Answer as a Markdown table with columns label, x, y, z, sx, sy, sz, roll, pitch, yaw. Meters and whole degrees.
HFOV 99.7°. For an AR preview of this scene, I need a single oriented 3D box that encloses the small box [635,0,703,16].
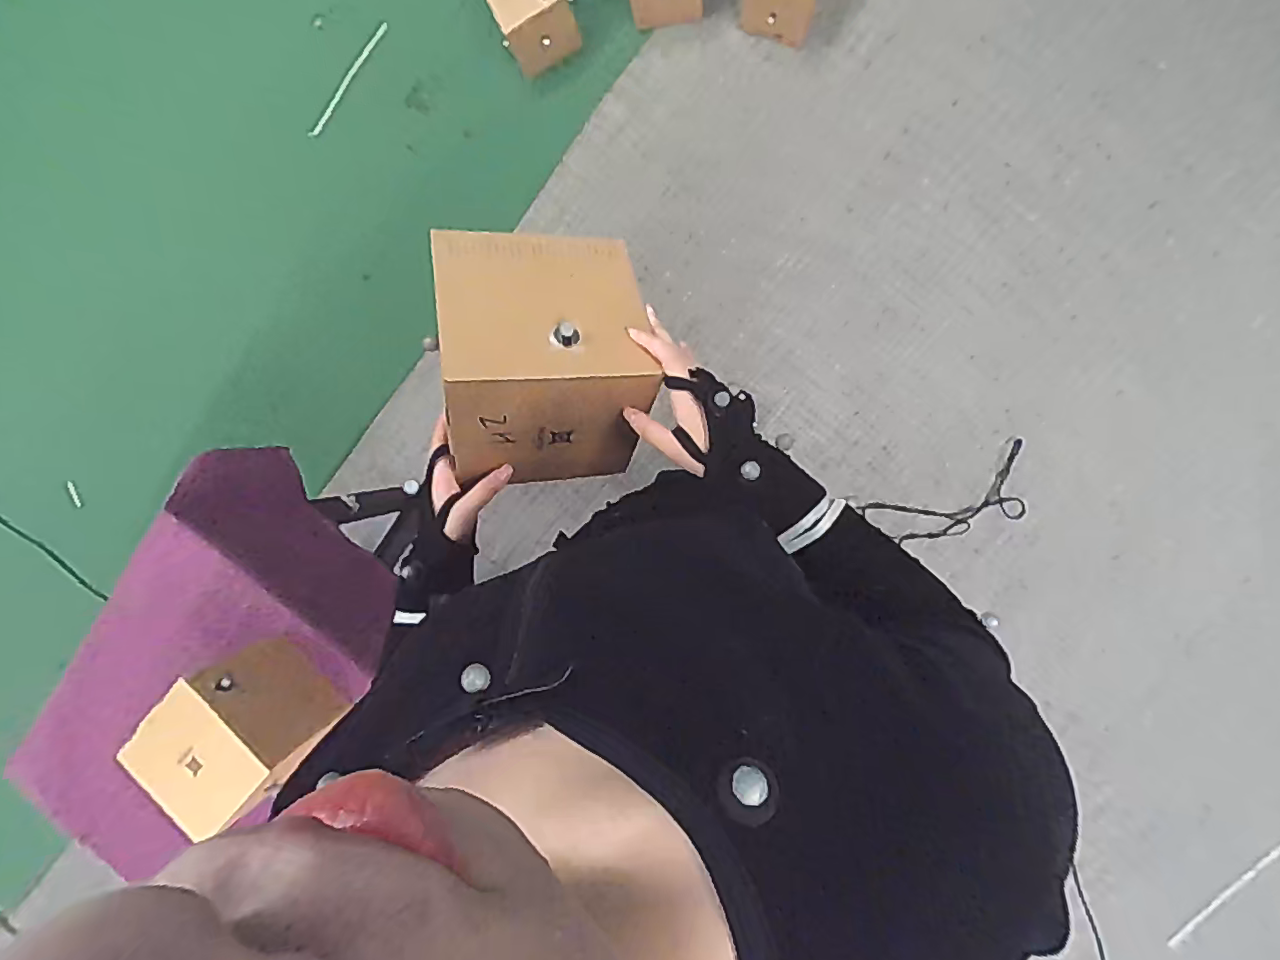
| label | x | y | z | sx | sy | sz | roll | pitch | yaw |
| --- | --- | --- | --- | --- | --- | --- | --- | --- | --- |
| small box | 0.062 | -1.272 | 1.303 | 0.179 | 0.176 | 0.168 | -4 | 94 | 8 |

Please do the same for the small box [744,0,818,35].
| label | x | y | z | sx | sy | sz | roll | pitch | yaw |
| --- | --- | --- | --- | --- | --- | --- | --- | --- | --- |
| small box | 0.351 | -1.203 | 1.266 | 0.168 | 0.176 | 0.179 | 23 | 98 | 6 |

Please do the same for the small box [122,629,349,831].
| label | x | y | z | sx | sy | sz | roll | pitch | yaw |
| --- | --- | --- | --- | --- | --- | --- | --- | --- | --- |
| small box | -0.580 | 0.353 | 0.798 | 0.179 | 0.176 | 0.168 | 44 | 100 | 3 |
